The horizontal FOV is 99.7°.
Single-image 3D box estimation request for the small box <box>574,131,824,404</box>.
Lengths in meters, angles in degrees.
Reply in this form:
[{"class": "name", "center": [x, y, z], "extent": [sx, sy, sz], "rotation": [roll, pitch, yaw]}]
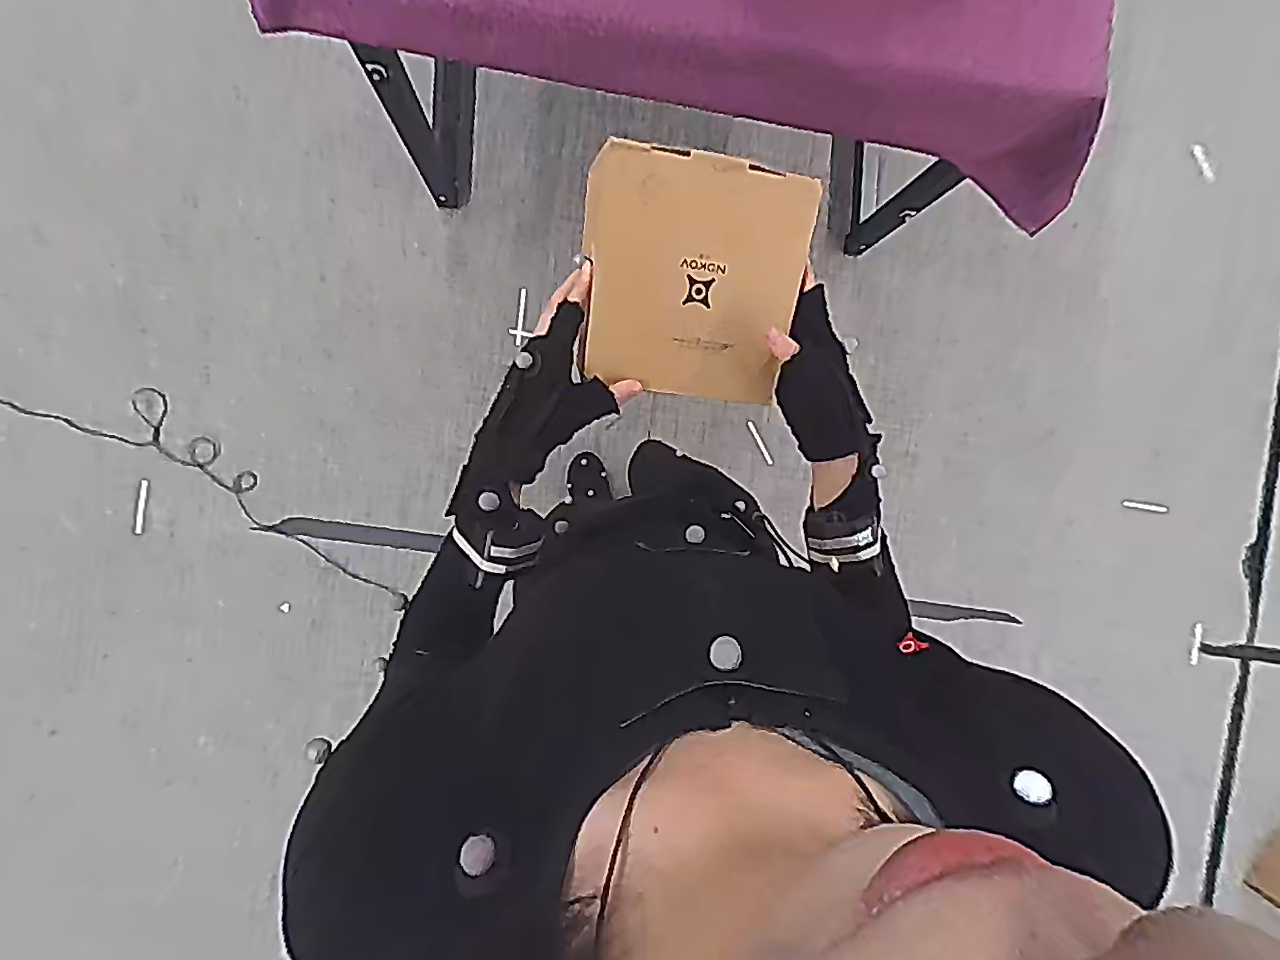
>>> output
[{"class": "small box", "center": [0.033, -0.180, 0.488], "extent": [0.168, 0.176, 0.179], "rotation": [5, 110, -12]}]
